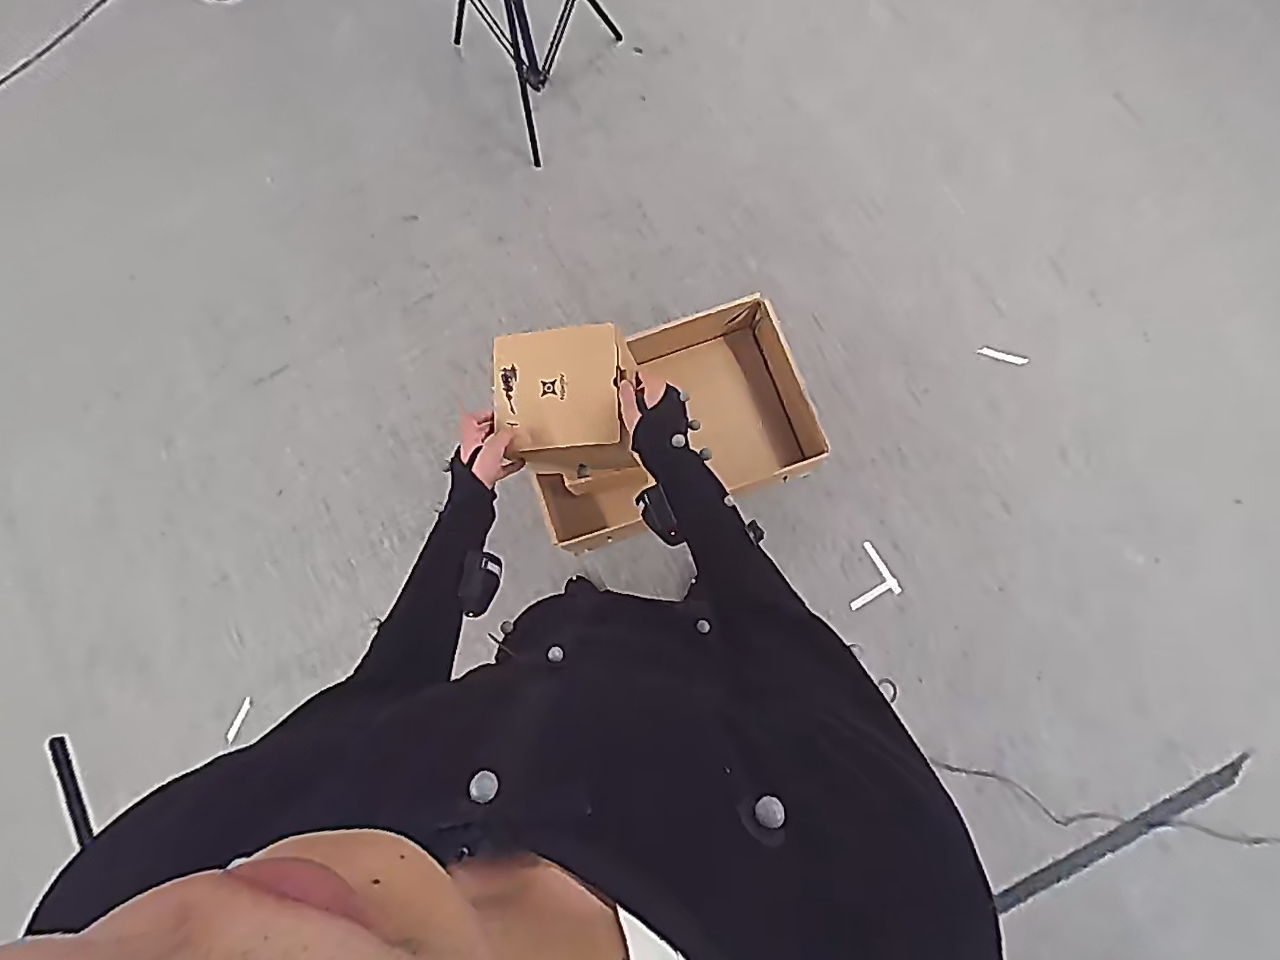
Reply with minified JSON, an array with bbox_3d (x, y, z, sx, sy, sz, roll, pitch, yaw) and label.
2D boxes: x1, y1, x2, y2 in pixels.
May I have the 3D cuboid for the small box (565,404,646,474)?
[{"bbox_3d":[-0.083,-0.116,1.045,0.168,0.176,0.179,-12,79,0],"label":"small box"}]

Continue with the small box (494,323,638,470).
[{"bbox_3d":[-0.098,-0.112,0.792,0.179,0.176,0.168,-4,80,9],"label":"small box"}]
